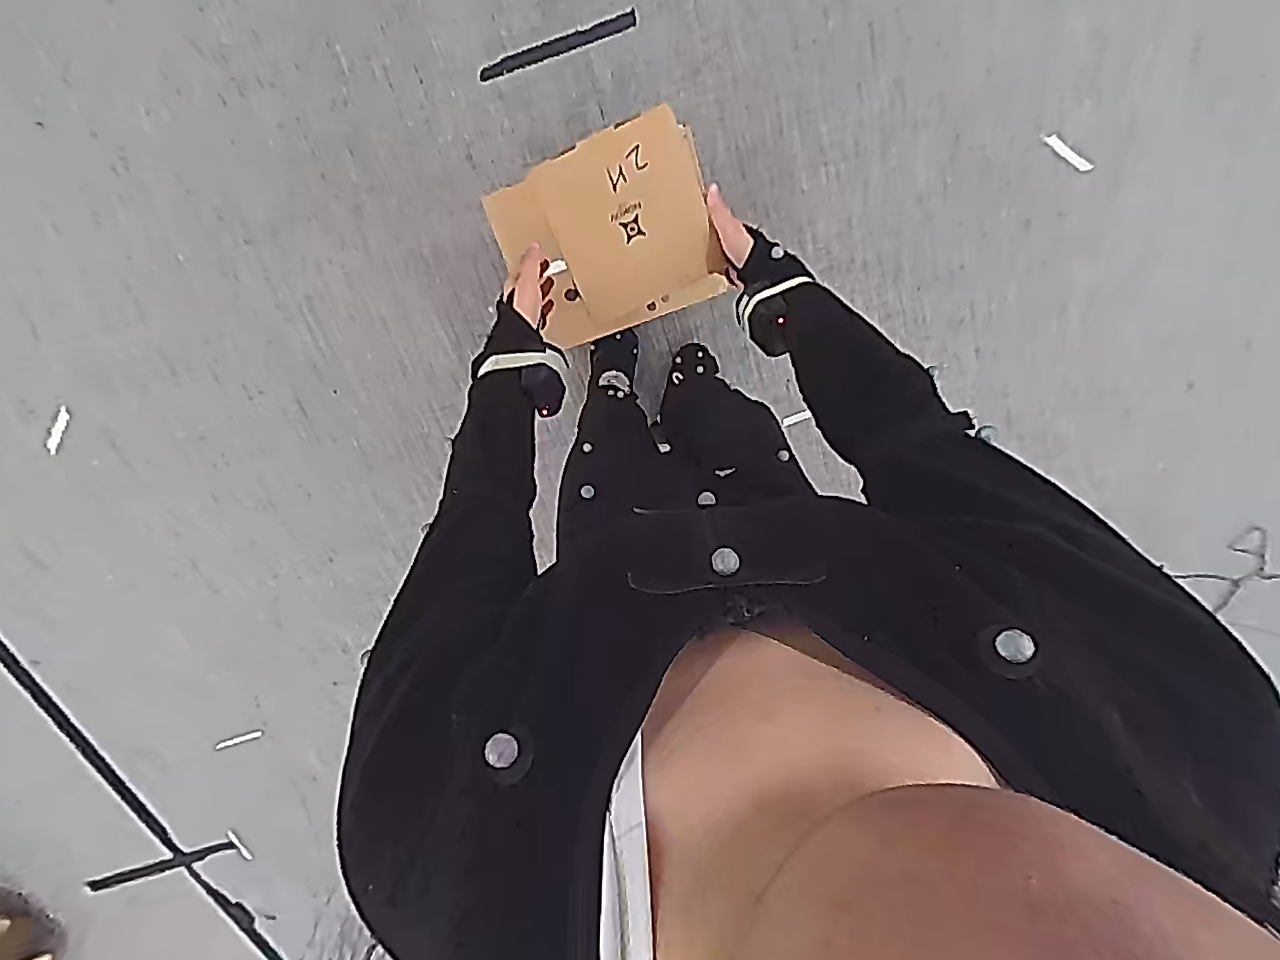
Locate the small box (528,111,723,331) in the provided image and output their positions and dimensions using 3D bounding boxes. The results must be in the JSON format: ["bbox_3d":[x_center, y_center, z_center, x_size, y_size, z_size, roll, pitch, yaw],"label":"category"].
[{"bbox_3d":[-0.019,-0.304,0.664,0.168,0.176,0.179,-25,110,2],"label":"small box"}]
